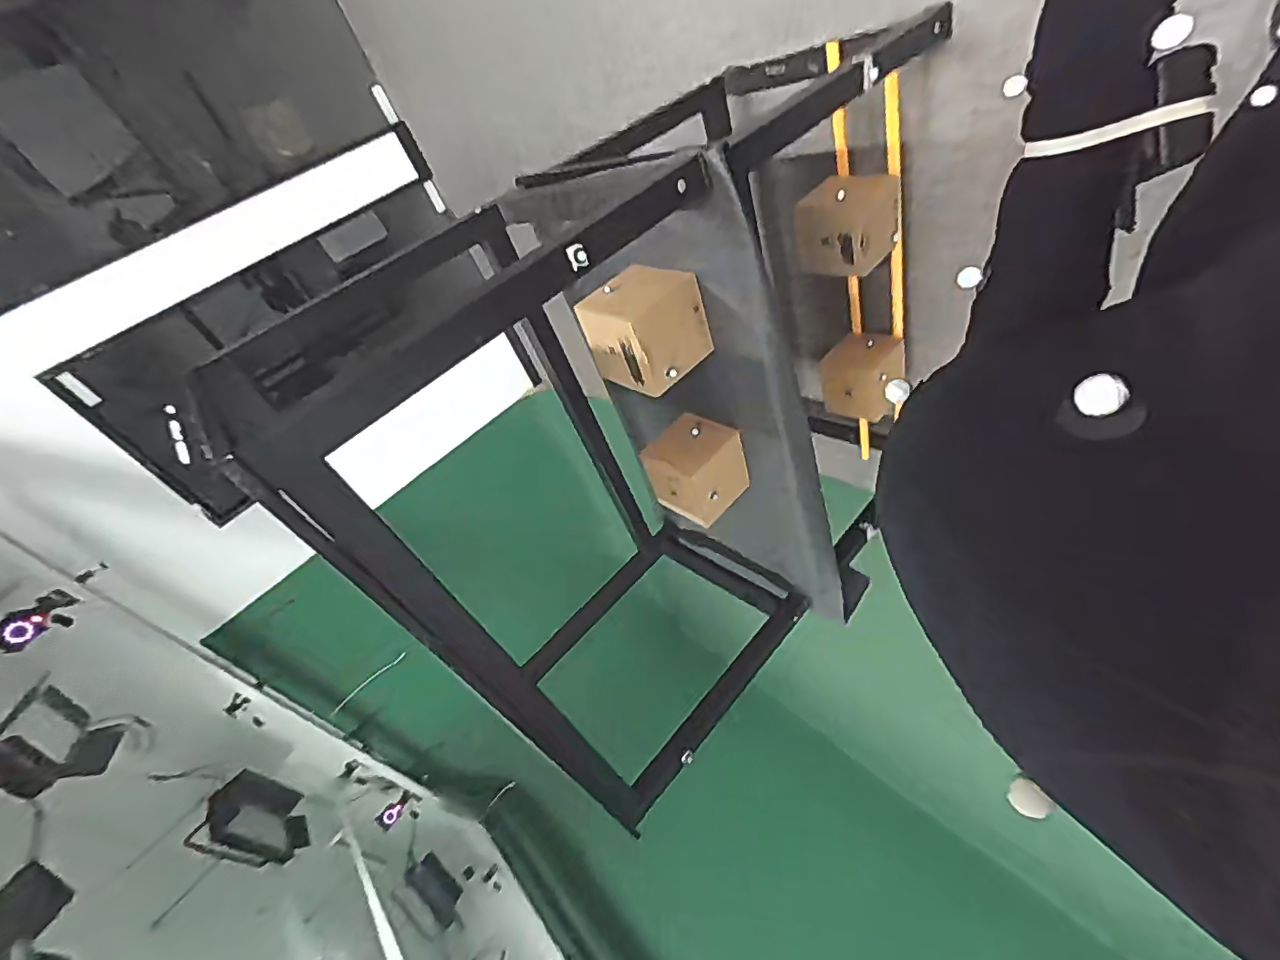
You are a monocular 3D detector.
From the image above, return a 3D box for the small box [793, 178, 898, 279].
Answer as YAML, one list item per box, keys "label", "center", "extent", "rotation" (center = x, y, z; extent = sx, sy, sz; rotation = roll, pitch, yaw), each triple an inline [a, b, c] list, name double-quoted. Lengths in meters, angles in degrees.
- label: "small box"
  center: [0.495, -0.606, 1.295]
  extent: [0.179, 0.176, 0.168]
  rotation: [27, 150, 41]

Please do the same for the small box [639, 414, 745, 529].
- label: "small box"
  center: [0.130, -0.023, 1.276]
  extent: [0.168, 0.176, 0.179]
  rotation: [27, 151, 41]
